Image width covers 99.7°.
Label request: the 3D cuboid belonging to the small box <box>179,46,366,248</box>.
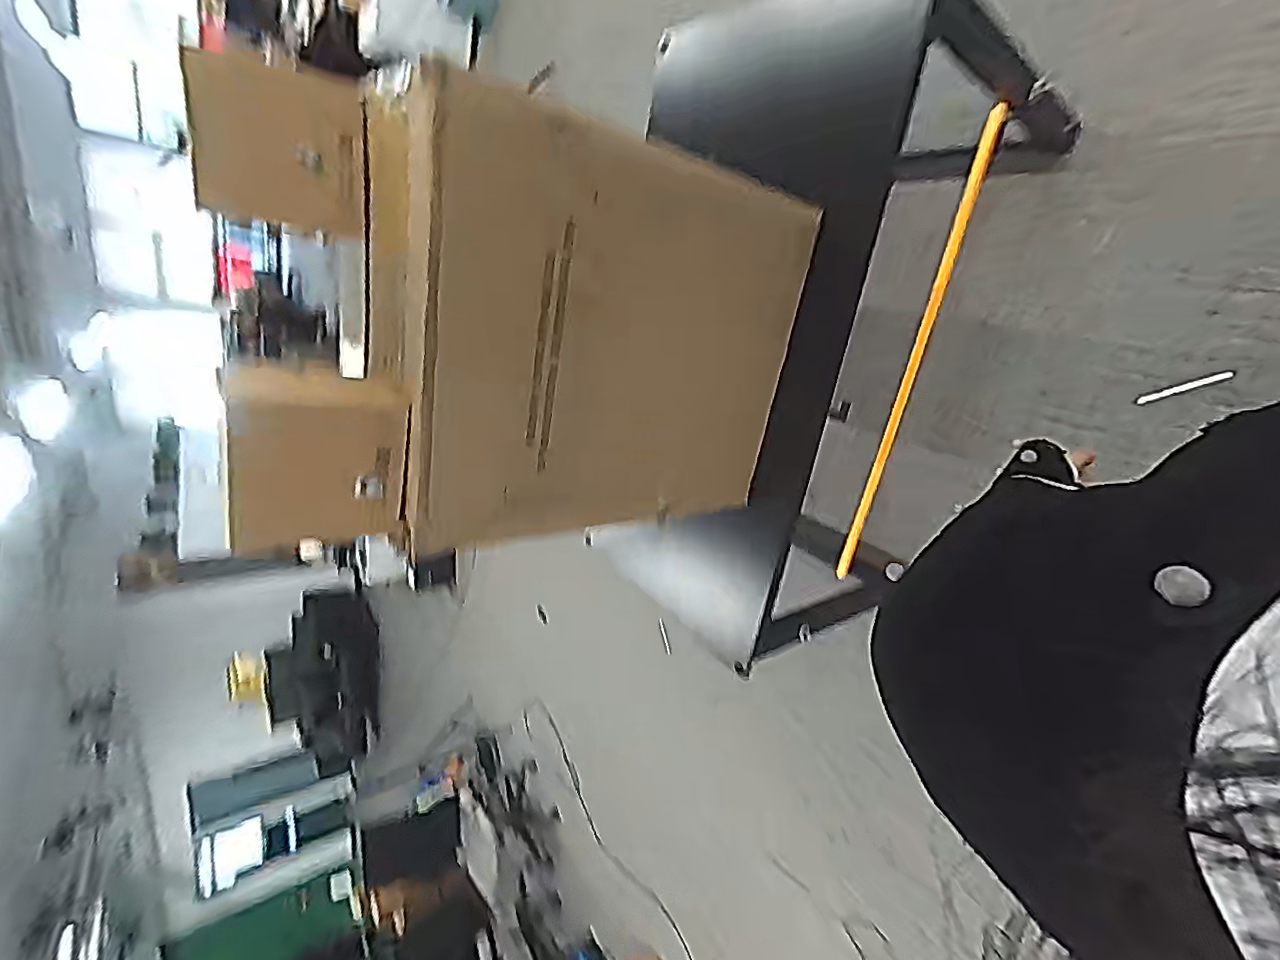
[{"bbox_3d":[-0.449,-0.391,0.671,0.179,0.176,0.168,31,119,48],"label":"small box"}]

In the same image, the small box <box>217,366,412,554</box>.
[{"bbox_3d":[-0.386,-0.031,0.638,0.179,0.176,0.168,28,115,45],"label":"small box"}]
